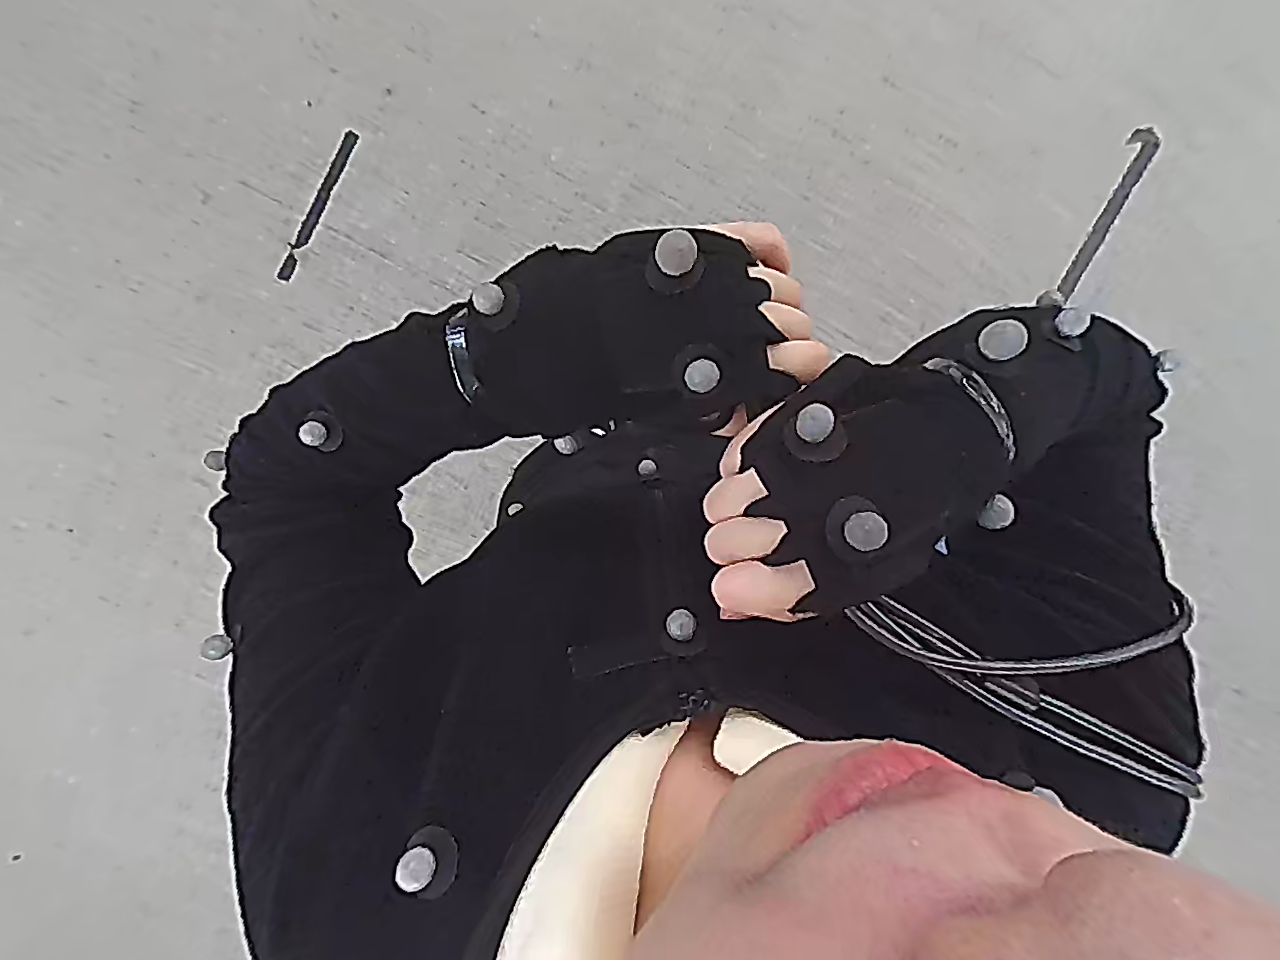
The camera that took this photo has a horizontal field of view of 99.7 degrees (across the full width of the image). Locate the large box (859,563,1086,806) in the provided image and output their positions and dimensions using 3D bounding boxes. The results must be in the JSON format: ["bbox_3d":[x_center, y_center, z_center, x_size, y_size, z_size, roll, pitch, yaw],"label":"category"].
[{"bbox_3d":[0.779,0.466,1.306,0.320,0.320,0.408,-15,100,-3],"label":"large box"}]
